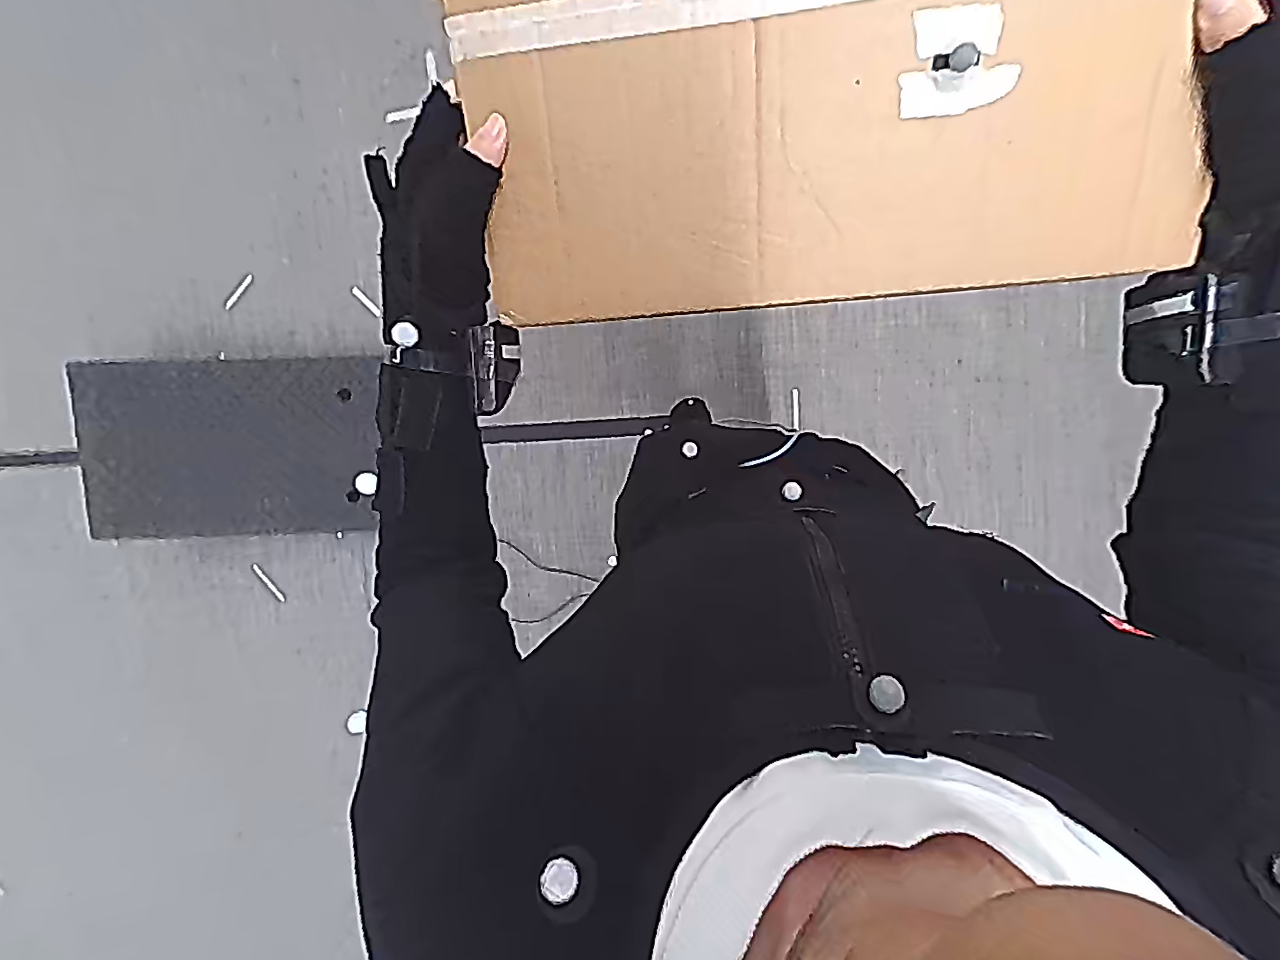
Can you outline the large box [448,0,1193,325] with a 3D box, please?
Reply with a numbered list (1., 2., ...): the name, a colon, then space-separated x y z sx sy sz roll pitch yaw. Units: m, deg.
1. large box: 0.099 -0.312 0.437 0.408 0.320 0.320 -4 109 6
